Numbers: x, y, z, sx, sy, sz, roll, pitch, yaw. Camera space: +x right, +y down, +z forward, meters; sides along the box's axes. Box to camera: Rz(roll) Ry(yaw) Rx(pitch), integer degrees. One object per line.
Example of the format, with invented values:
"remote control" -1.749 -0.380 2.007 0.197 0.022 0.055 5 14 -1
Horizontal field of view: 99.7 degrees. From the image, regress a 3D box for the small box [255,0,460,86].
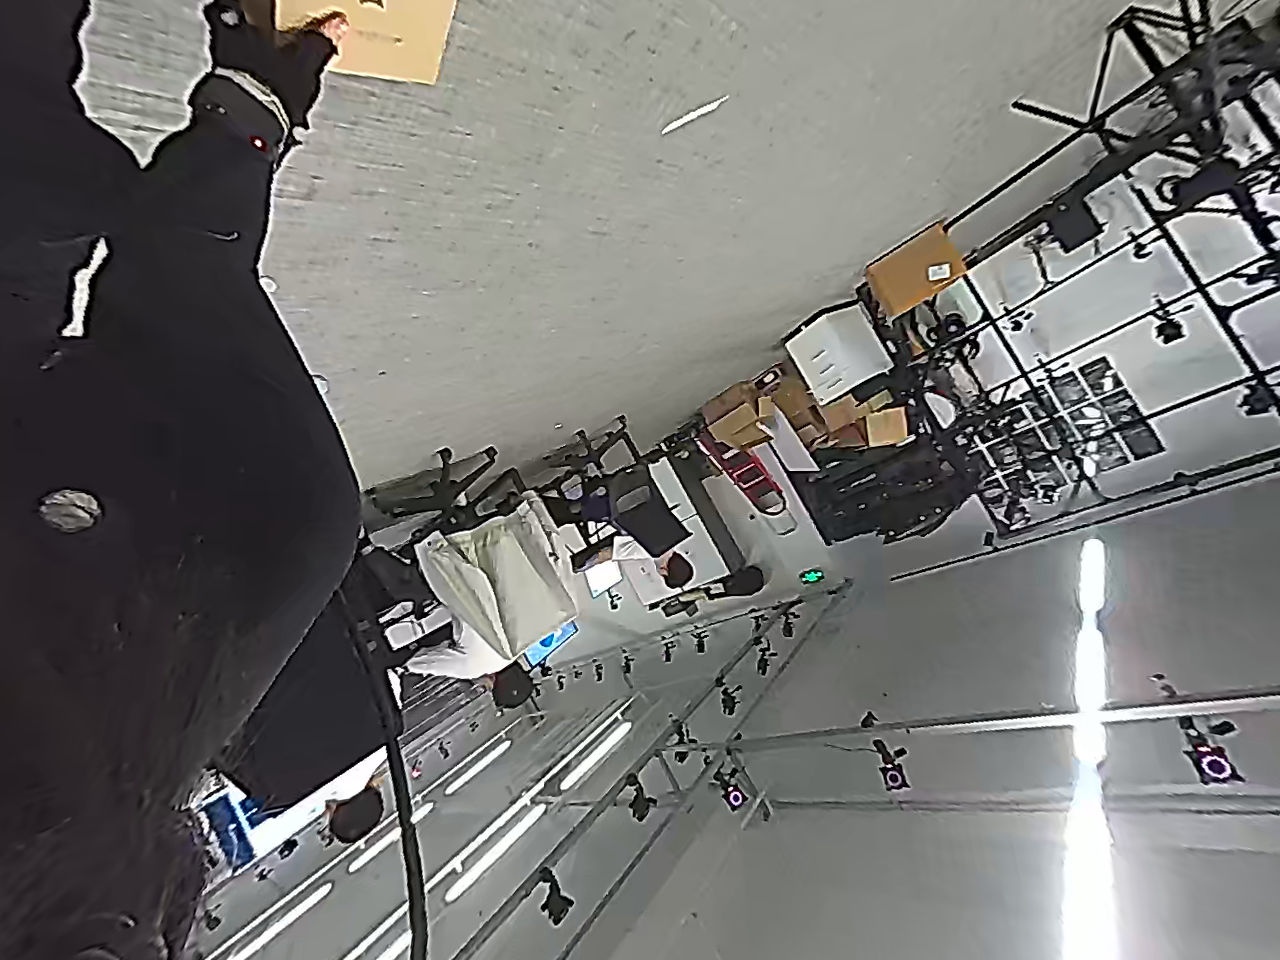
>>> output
"small box" -0.282 -0.525 0.505 0.168 0.176 0.179 -24 175 -39
